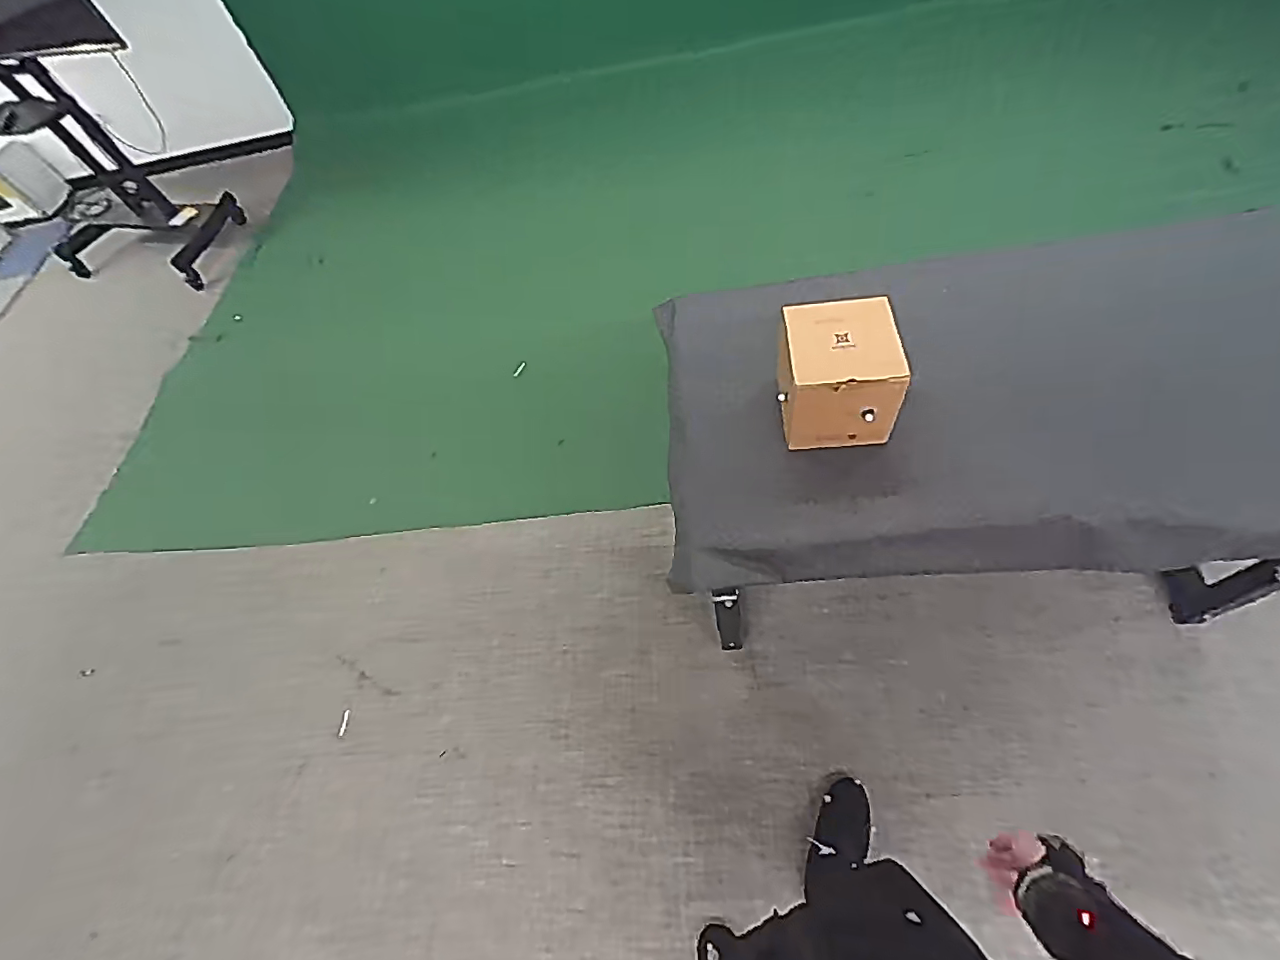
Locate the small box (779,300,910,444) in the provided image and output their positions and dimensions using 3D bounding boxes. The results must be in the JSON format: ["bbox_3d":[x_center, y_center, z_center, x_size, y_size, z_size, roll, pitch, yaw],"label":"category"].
[{"bbox_3d":[0.329,-0.171,0.908,0.168,0.176,0.179,-3,58,7],"label":"small box"}]
